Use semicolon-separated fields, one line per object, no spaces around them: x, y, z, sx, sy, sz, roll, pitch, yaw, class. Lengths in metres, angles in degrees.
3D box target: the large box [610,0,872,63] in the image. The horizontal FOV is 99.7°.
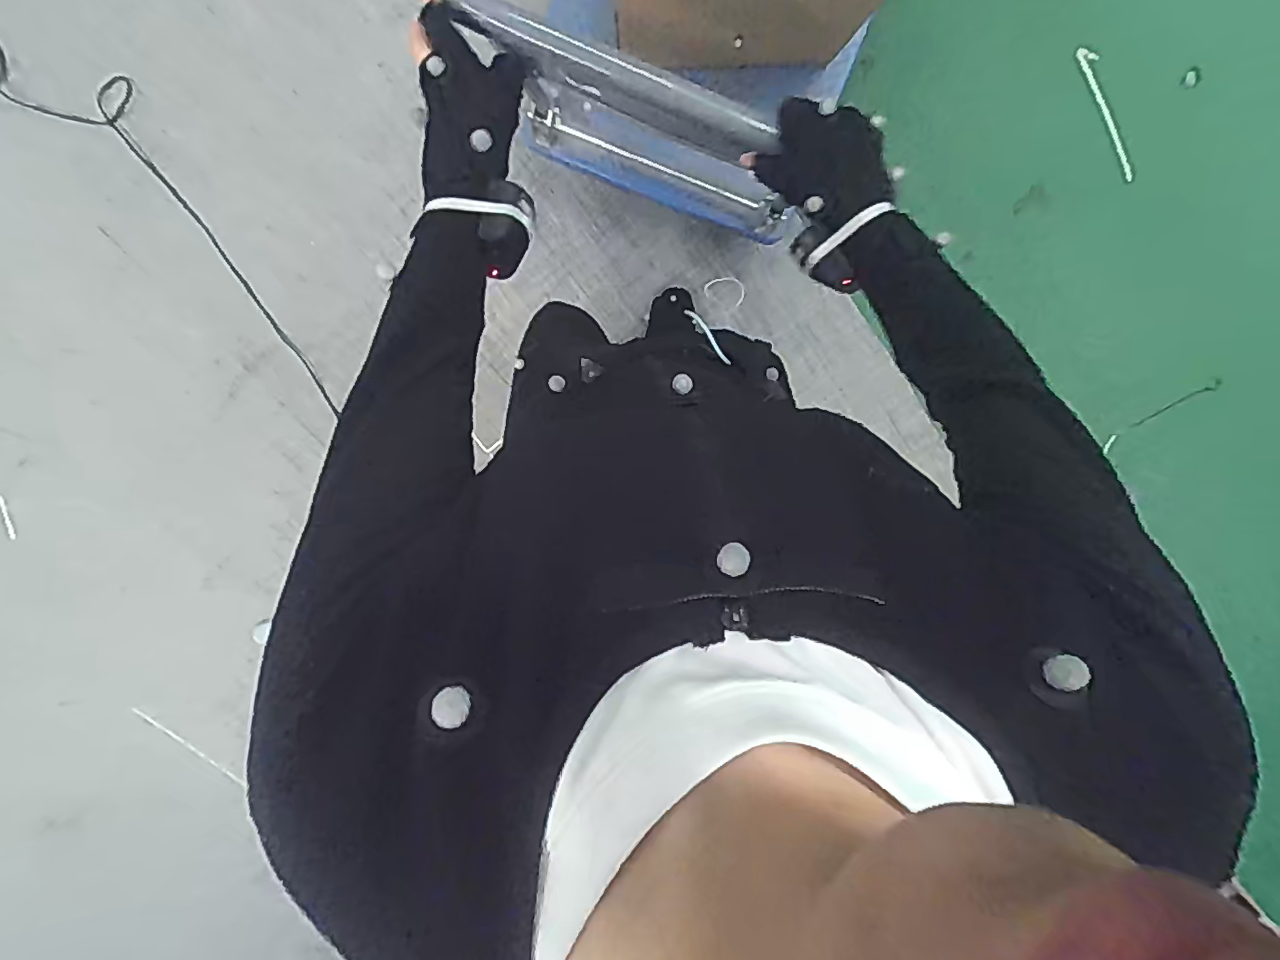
0.154;-0.892;0.845;0.408;0.320;0.320;0;109;1;large box
